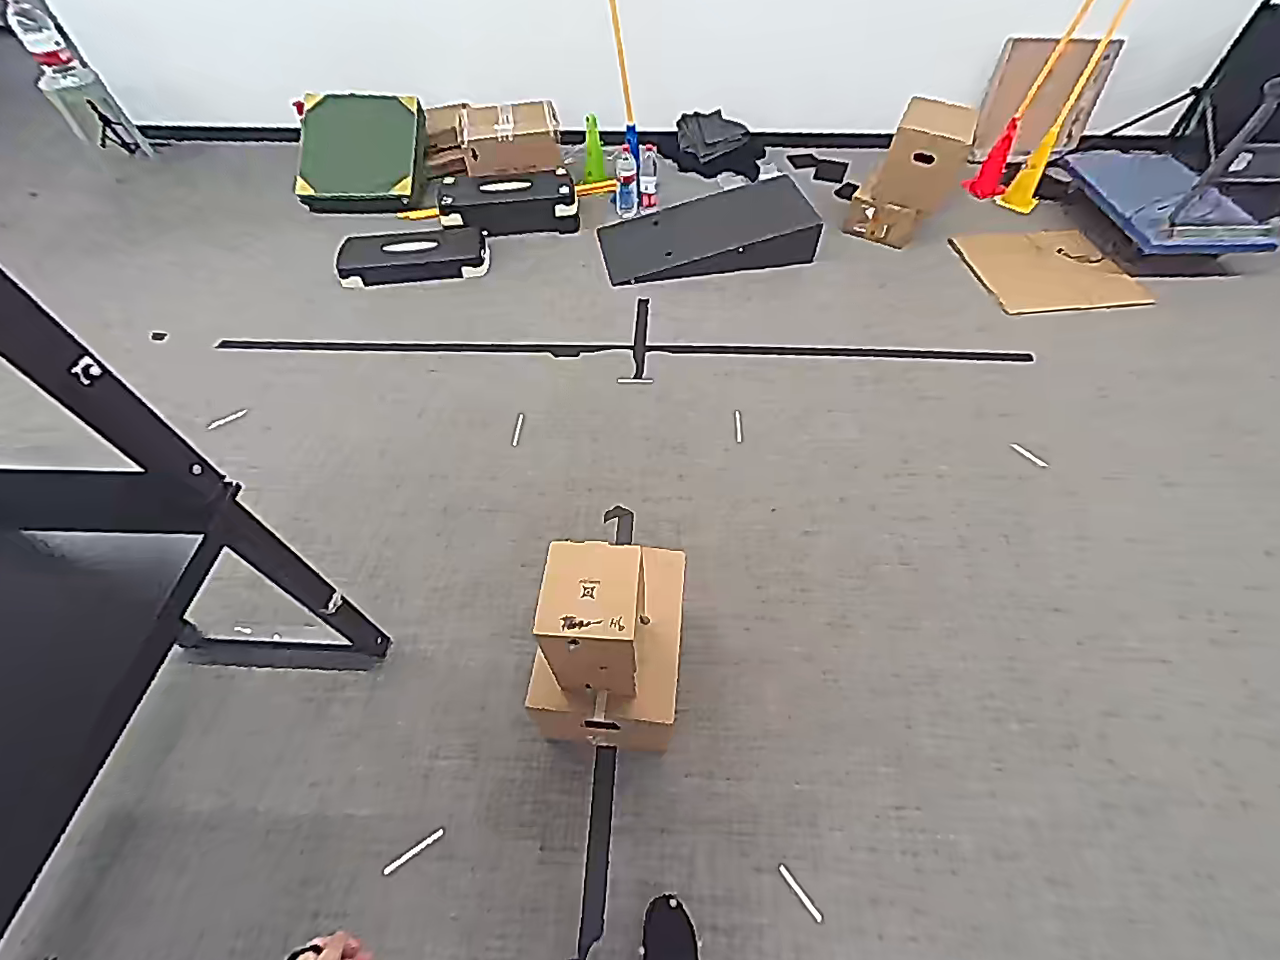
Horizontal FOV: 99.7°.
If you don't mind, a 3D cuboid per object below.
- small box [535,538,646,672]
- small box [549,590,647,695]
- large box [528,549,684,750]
[{"bbox_3d":[-0.078,0.226,0.972,0.168,0.176,0.179,3,52,5],"label":"small box"},{"bbox_3d":[-0.078,0.320,1.106,0.168,0.176,0.179,5,54,5],"label":"small box"},{"bbox_3d":[-0.063,0.413,1.341,0.320,0.320,0.408,6,53,3],"label":"large box"}]
